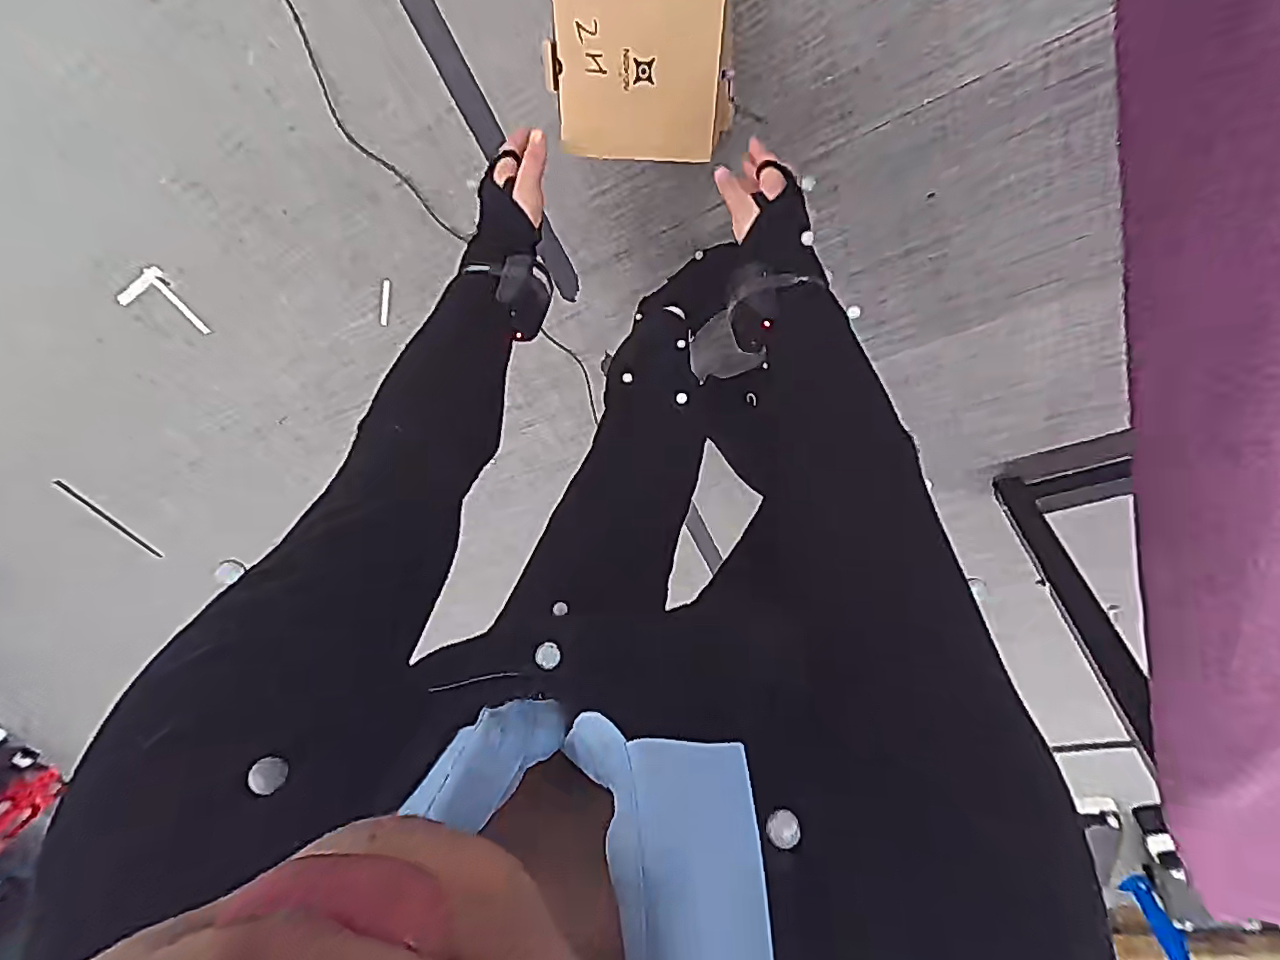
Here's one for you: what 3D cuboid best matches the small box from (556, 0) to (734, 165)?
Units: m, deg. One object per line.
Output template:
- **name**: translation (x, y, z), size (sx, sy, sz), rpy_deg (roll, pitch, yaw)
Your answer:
- **small box**: translation (0.012, -0.478, 0.624), size (0.179, 0.176, 0.168), rpy_deg (7, 130, 6)
